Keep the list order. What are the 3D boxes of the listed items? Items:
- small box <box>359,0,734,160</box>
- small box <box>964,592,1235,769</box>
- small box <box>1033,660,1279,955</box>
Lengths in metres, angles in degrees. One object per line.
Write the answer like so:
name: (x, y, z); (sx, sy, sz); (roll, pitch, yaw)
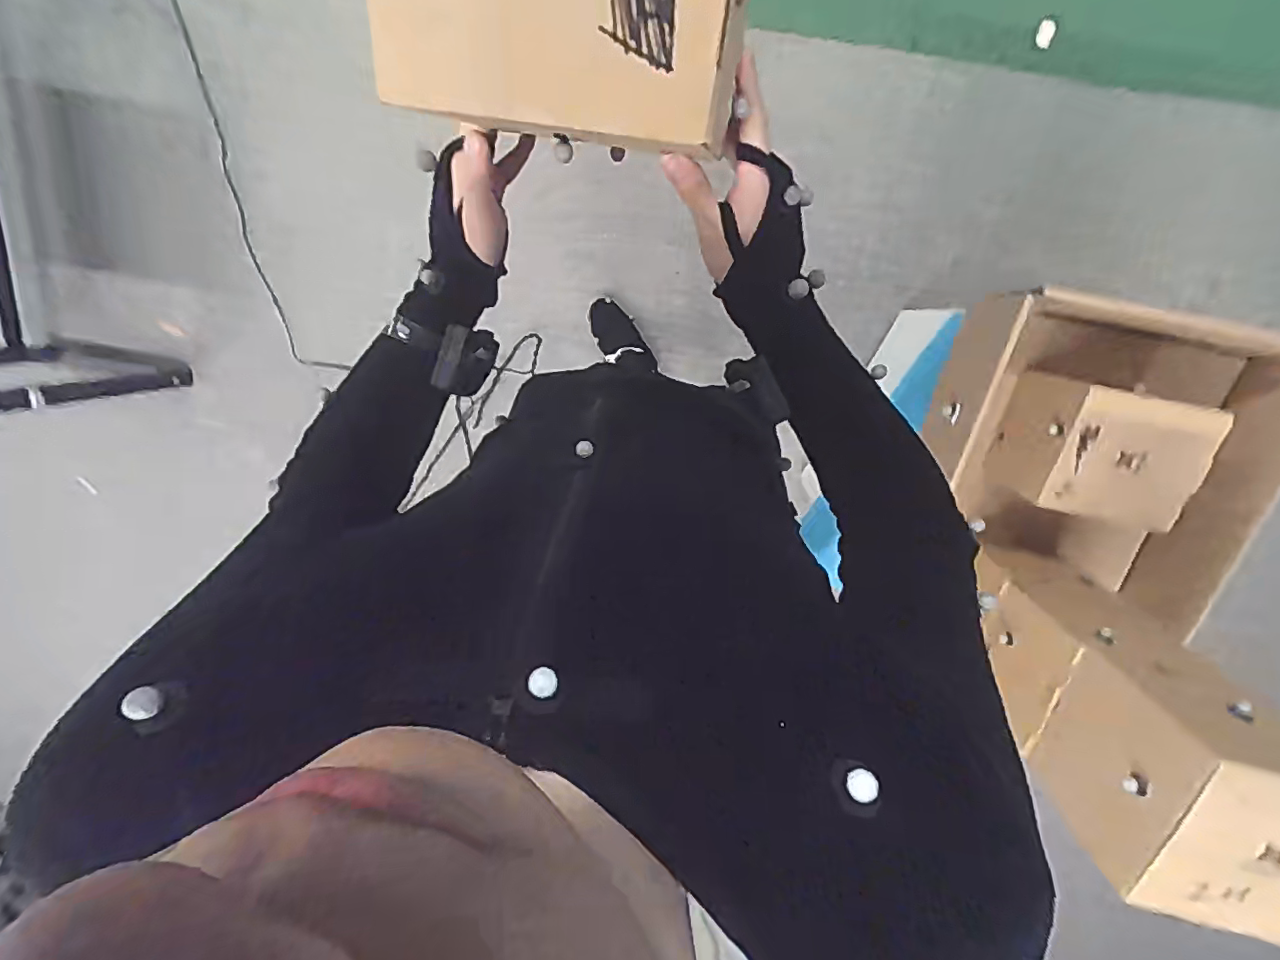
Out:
small box: (-0.035, -0.287, 0.307); (0.179, 0.176, 0.168); (11, 119, 6)
small box: (0.571, 0.269, 0.704); (0.179, 0.176, 0.168); (14, 108, 4)
small box: (0.550, 0.314, 0.547); (0.168, 0.176, 0.179); (14, 108, 4)
